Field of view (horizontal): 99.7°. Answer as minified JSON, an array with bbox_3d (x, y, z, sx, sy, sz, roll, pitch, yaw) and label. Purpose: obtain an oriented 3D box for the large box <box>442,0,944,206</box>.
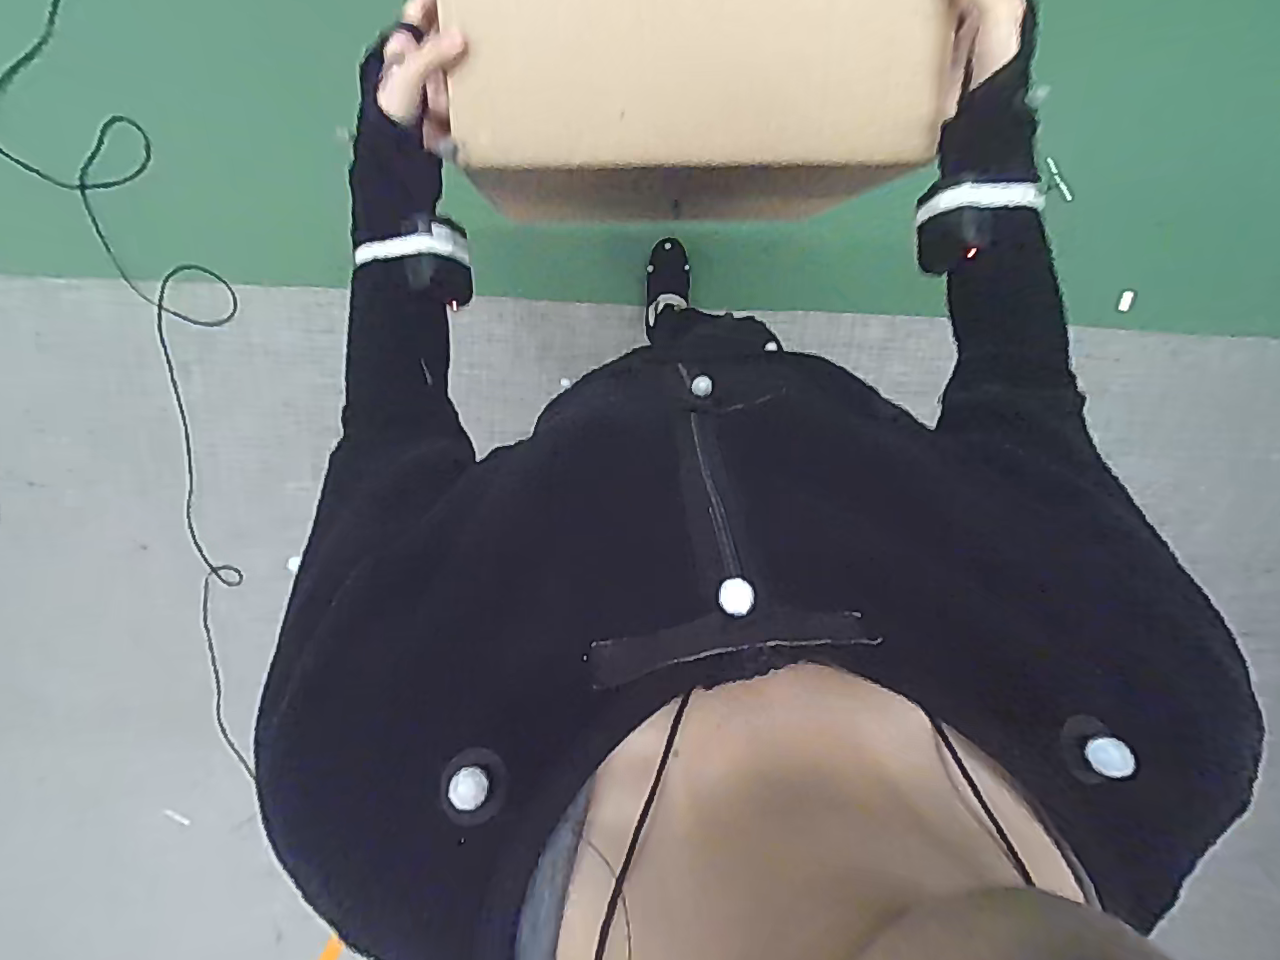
[{"bbox_3d":[0.037,-0.470,0.544,0.408,0.320,0.320,-3,108,-3],"label":"large box"}]
